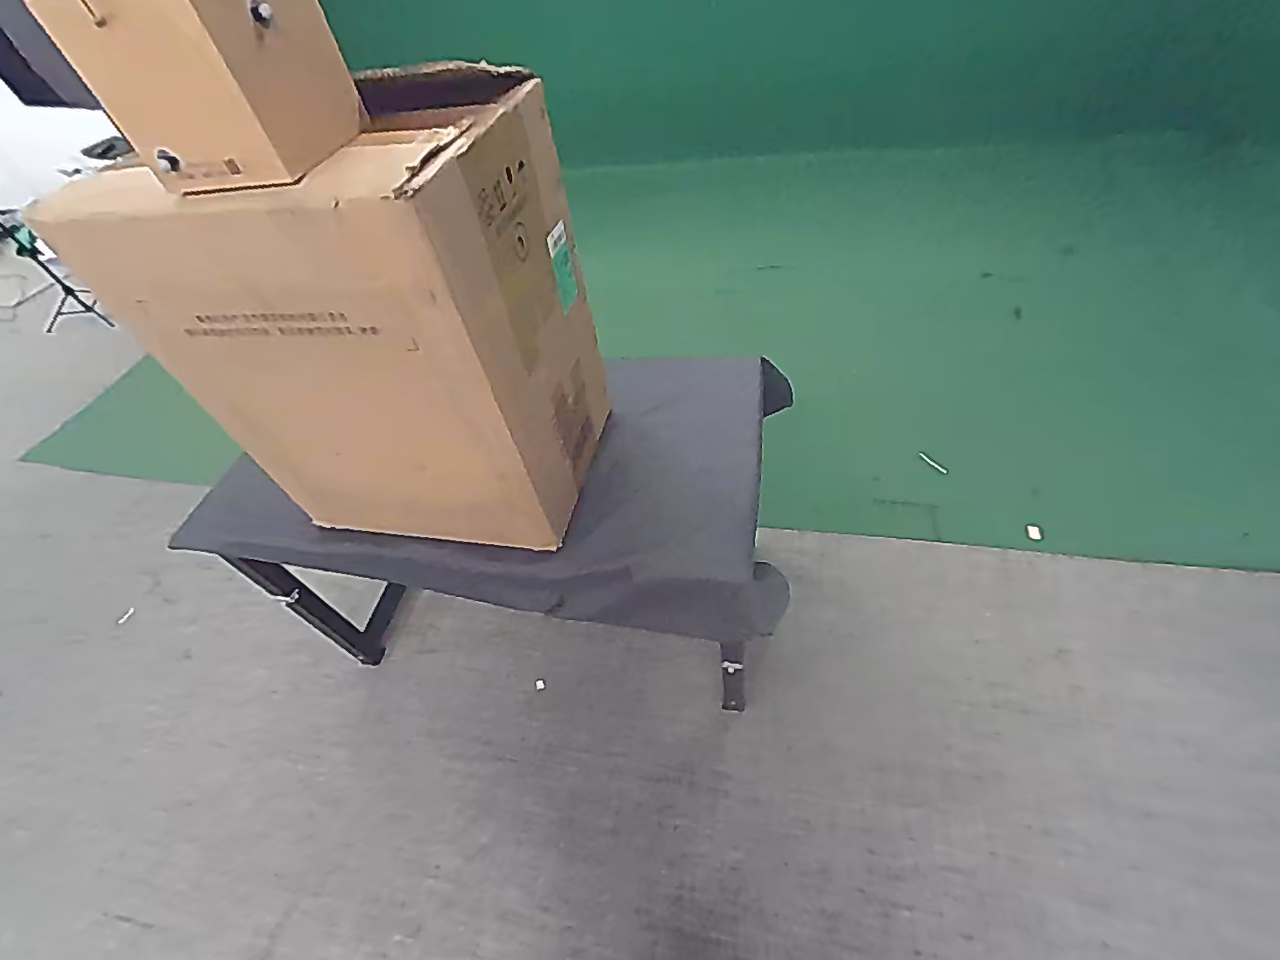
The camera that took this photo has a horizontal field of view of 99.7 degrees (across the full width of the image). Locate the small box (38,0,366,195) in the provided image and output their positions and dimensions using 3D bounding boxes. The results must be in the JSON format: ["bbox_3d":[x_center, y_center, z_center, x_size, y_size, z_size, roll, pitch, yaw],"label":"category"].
[{"bbox_3d":[-0.432,-0.421,0.575,0.168,0.176,0.179,2,50,12],"label":"small box"}]
